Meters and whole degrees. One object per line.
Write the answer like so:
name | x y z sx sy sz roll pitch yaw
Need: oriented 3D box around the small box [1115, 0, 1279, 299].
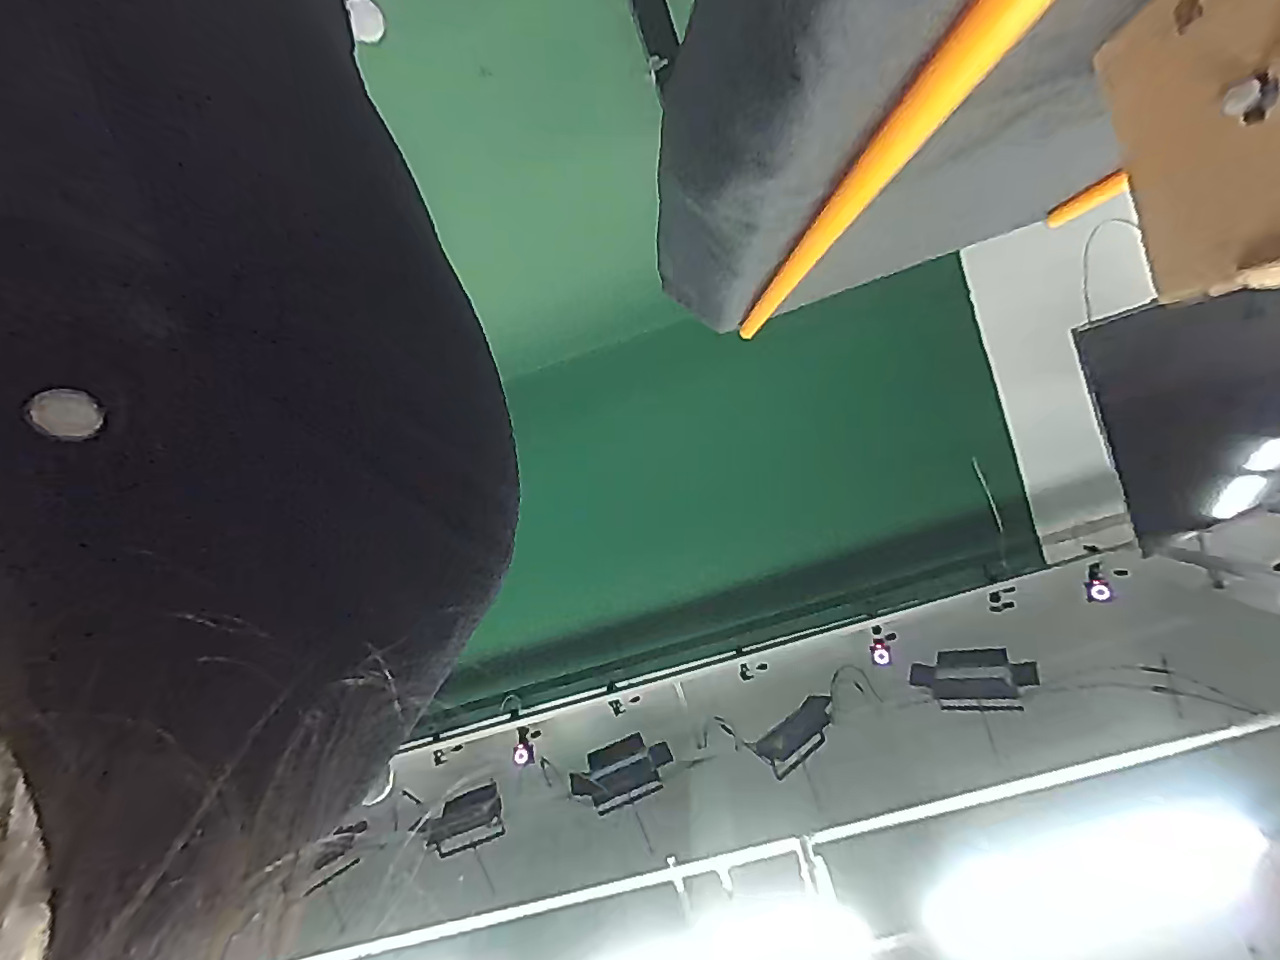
small box | 0.388 -0.215 0.256 0.179 0.176 0.168 -19 -178 8
